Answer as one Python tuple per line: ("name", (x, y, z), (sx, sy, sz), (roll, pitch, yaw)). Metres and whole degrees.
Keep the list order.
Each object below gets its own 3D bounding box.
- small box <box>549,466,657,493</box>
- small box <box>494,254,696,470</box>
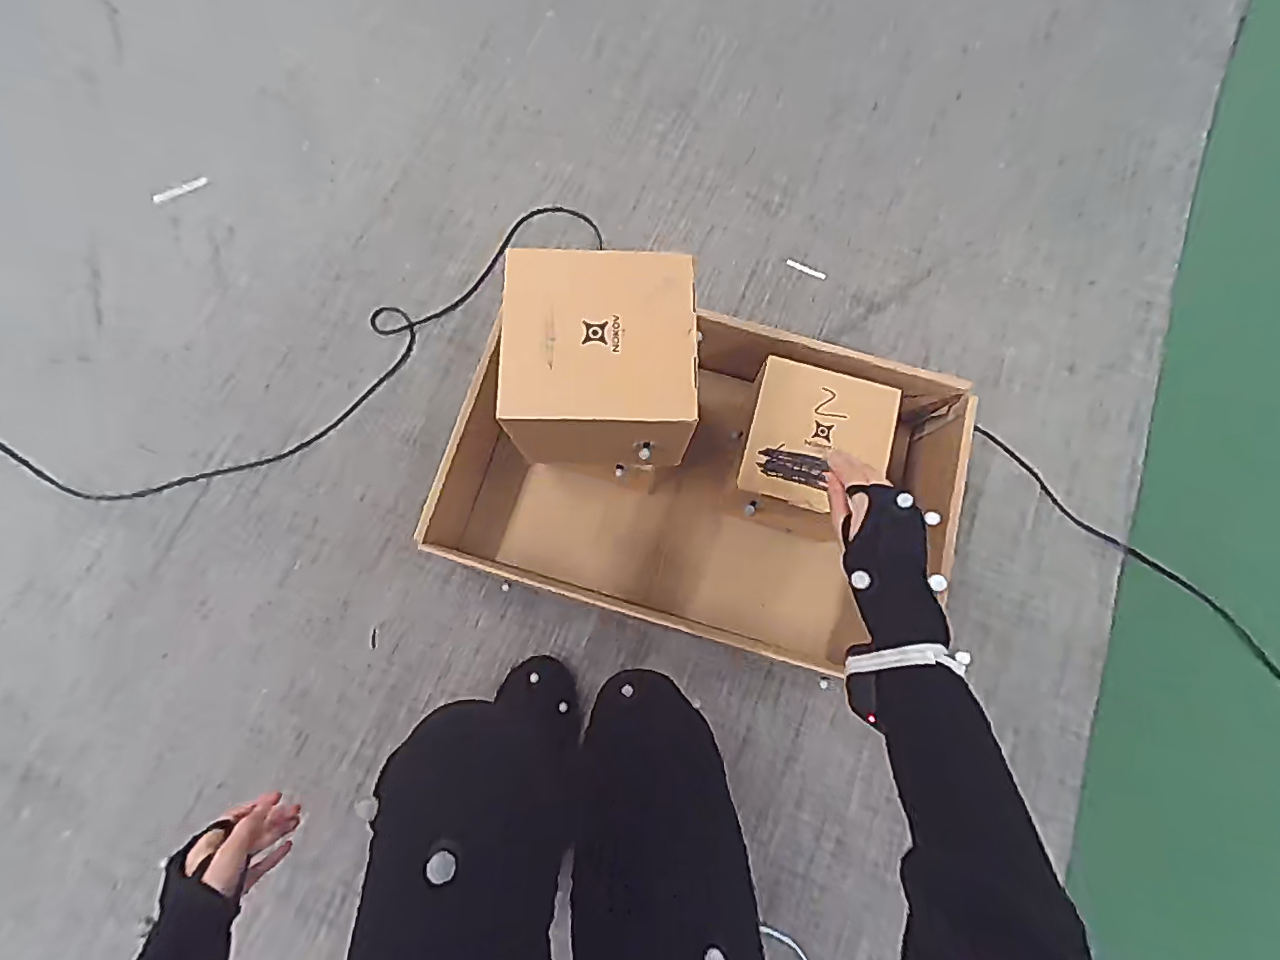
("small box", (-0.047, -0.092, 0.723), (0.179, 0.176, 0.168), (18, 78, 2))
("small box", (-0.040, -0.108, 0.560), (0.179, 0.176, 0.168), (1, 78, -1))
